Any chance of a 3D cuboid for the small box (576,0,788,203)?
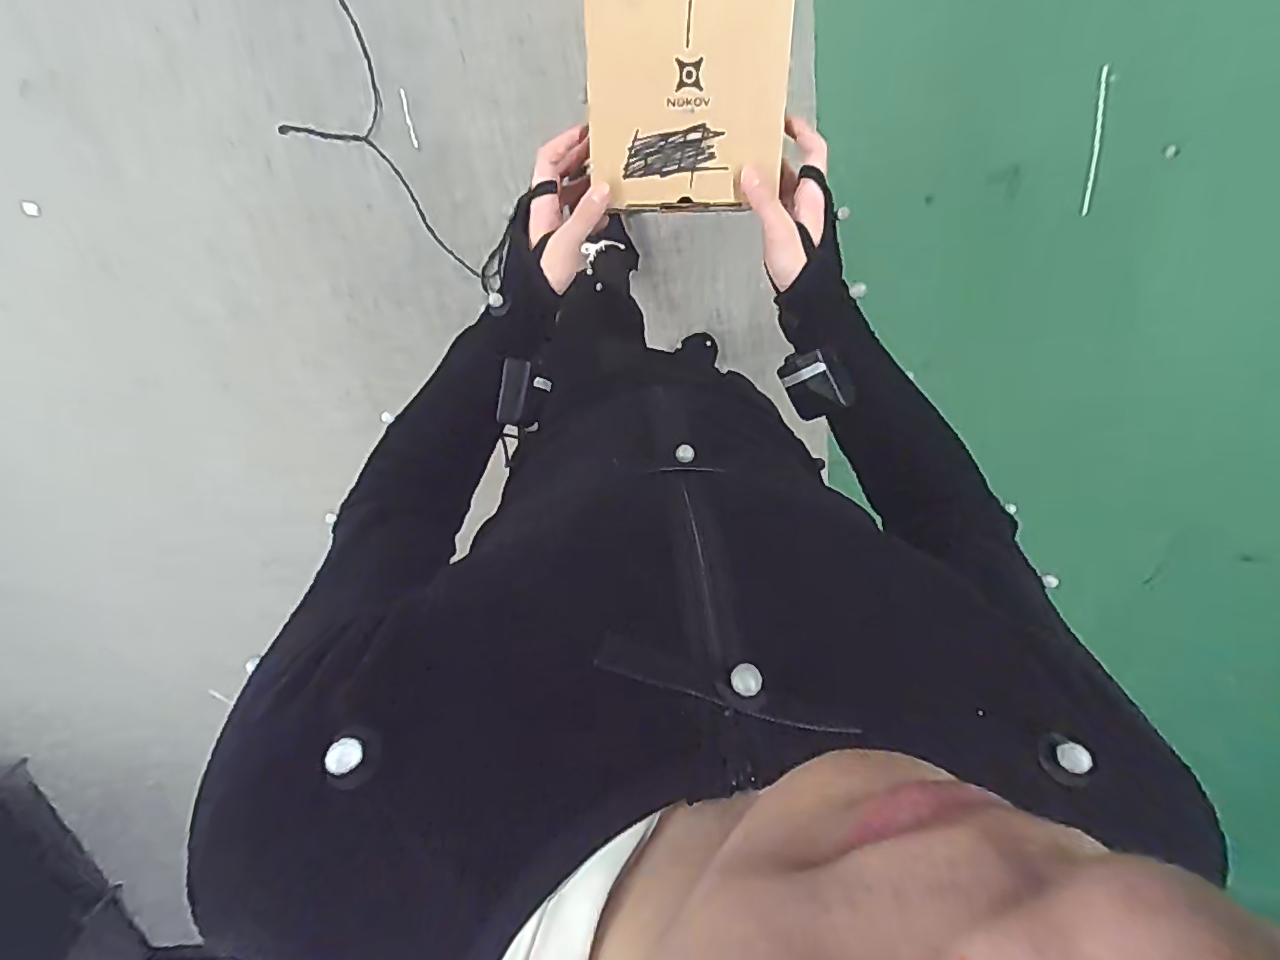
[{"bbox_3d":[0.034,-0.358,0.506,0.168,0.176,0.179,-1,115,0],"label":"small box"}]
